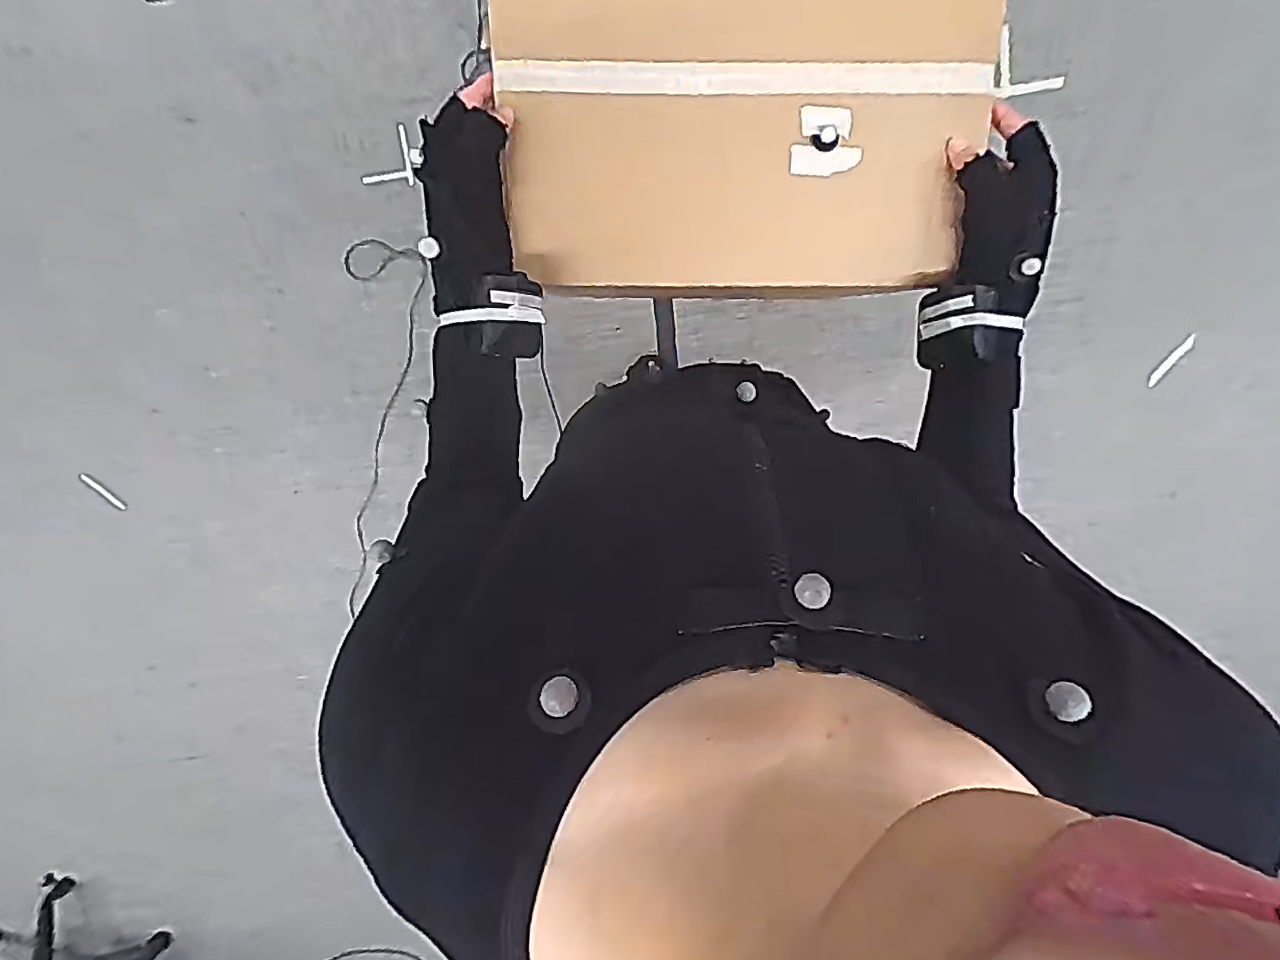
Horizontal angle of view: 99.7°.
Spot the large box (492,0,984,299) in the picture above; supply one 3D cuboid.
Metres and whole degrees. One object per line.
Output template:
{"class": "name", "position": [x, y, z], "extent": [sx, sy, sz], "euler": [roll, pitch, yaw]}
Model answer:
{"class": "large box", "position": [0.075, -0.374, 0.593], "extent": [0.408, 0.320, 0.320], "euler": [-1, 107, -2]}
